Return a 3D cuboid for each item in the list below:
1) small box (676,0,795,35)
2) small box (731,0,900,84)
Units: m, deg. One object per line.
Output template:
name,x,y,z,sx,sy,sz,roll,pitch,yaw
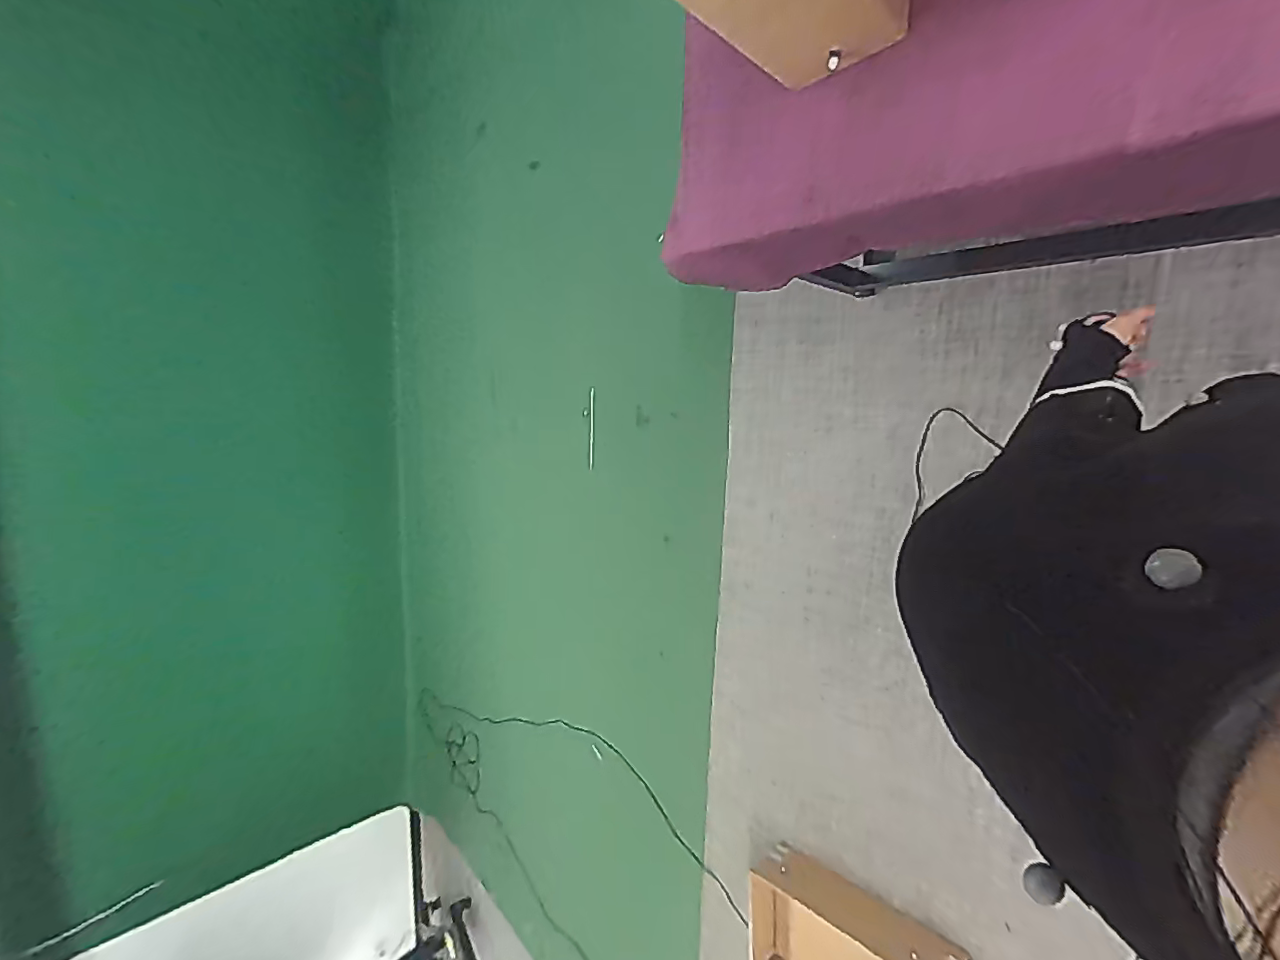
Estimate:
small box,0.126,-0.676,0.625,0.179,0.176,0.168,8,102,47
small box,0.245,-0.691,0.738,0.179,0.176,0.168,8,101,46
